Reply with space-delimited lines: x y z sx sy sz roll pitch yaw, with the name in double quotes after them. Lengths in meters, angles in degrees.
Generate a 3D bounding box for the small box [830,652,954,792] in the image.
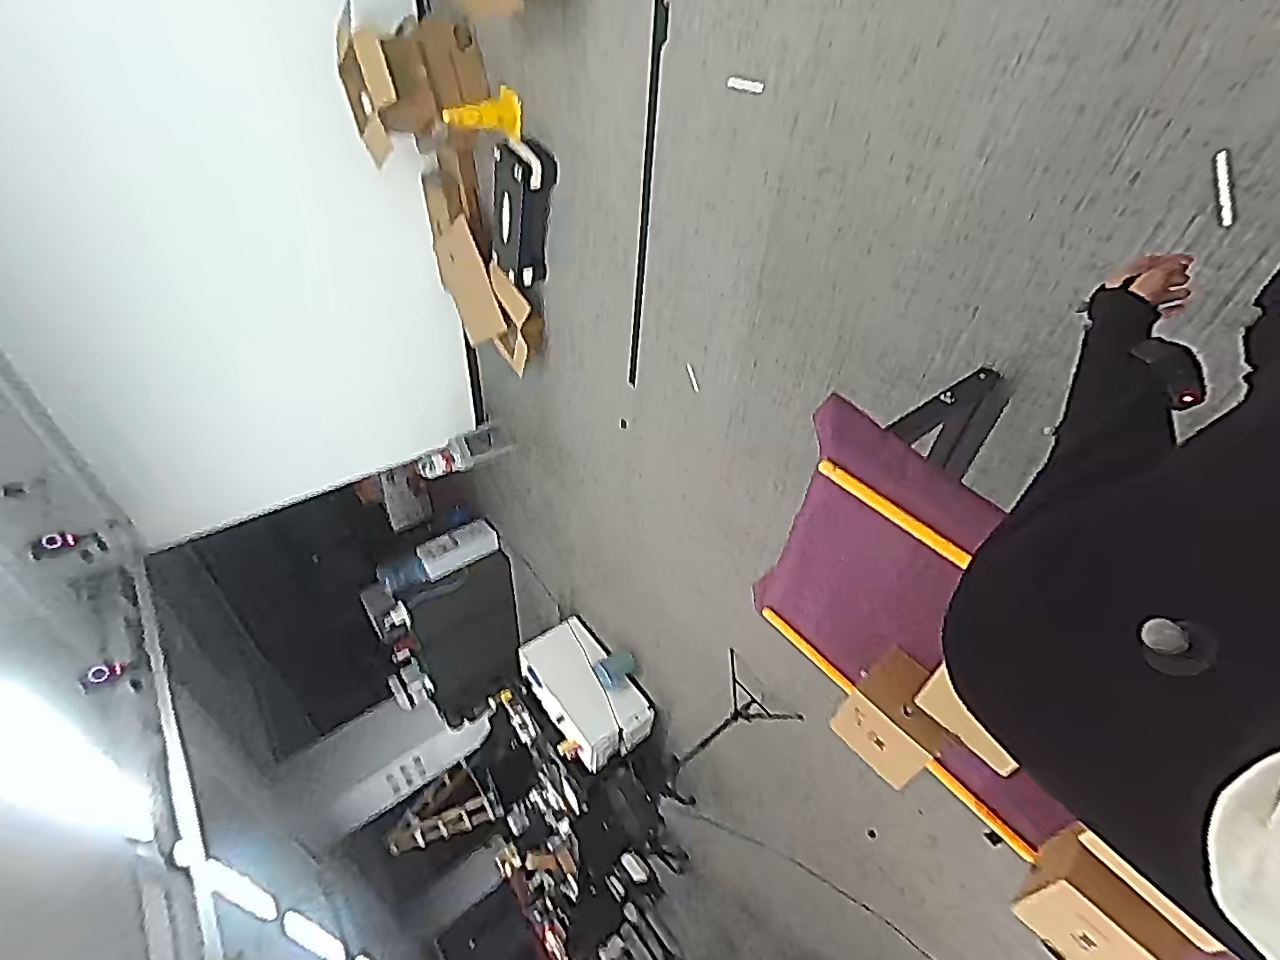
0.543 0.500 1.135 0.179 0.176 0.168 41 140 33 "small box"

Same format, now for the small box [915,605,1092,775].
0.616 0.352 0.922 0.168 0.176 0.179 39 143 34 "small box"

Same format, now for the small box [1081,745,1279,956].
0.797 0.513 0.770 0.179 0.176 0.168 43 143 31 "small box"

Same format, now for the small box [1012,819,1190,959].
0.796 0.733 0.927 0.168 0.176 0.179 39 139 34 "small box"
